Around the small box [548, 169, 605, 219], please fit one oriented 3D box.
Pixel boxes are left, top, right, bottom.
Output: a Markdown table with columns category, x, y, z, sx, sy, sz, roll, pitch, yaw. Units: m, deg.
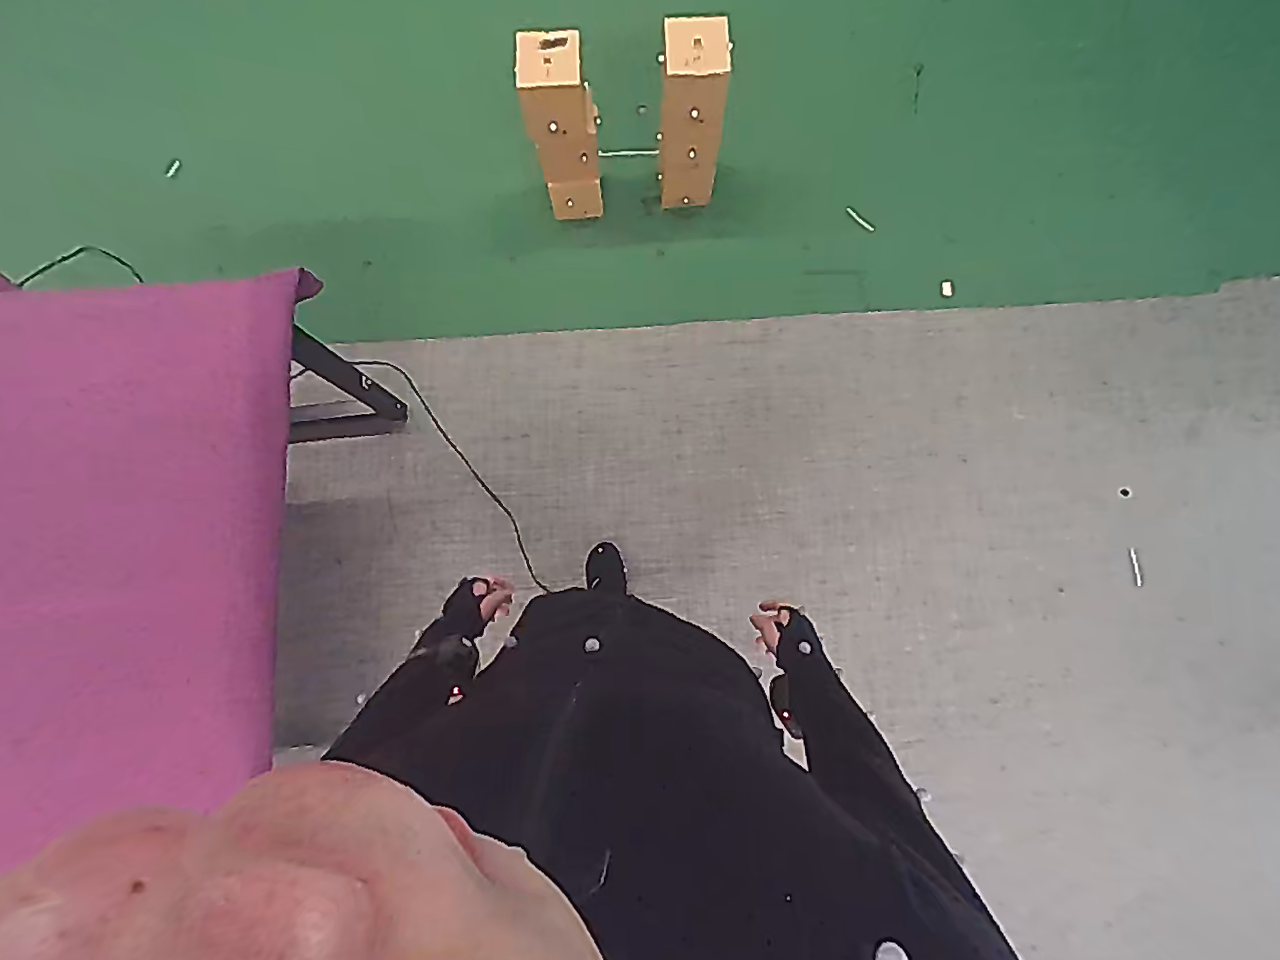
| category | x | y | z | sx | sy | sz | roll | pitch | yaw |
| --- | --- | --- | --- | --- | --- | --- | --- | --- | --- |
| small box | -0.210 | -0.986 | 1.782 | 0.168 | 0.176 | 0.179 | -6 | 79 | 0 |

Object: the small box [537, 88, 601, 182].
| category | x | y | z | sx | sy | sz | roll | pitch | yaw |
| --- | --- | --- | --- | --- | --- | --- | --- | --- | --- |
| small box | -0.213 | -1.031 | 1.625 | 0.179 | 0.176 | 0.168 | -7 | 78 | 0 |

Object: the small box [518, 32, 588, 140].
| category | x | y | z | sx | sy | sz | roll | pitch | yaw |
| --- | --- | --- | --- | --- | --- | --- | --- | --- | --- |
| small box | -0.231 | -1.061 | 1.464 | 0.168 | 0.176 | 0.179 | -3 | 79 | 0 |

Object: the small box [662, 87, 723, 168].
| category | x | y | z | sx | sy | sz | roll | pitch | yaw |
| --- | --- | --- | --- | --- | --- | --- | --- | --- | --- |
| small box | 0.155 | -1.068 | 1.627 | 0.168 | 0.176 | 0.179 | -3 | 81 | -1 |

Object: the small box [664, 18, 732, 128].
| category | x | y | z | sx | sy | sz | roll | pitch | yaw |
| --- | --- | --- | --- | --- | --- | --- | --- | --- | --- |
| small box | 0.151 | -1.098 | 1.465 | 0.168 | 0.176 | 0.179 | -2 | 81 | 0 |
